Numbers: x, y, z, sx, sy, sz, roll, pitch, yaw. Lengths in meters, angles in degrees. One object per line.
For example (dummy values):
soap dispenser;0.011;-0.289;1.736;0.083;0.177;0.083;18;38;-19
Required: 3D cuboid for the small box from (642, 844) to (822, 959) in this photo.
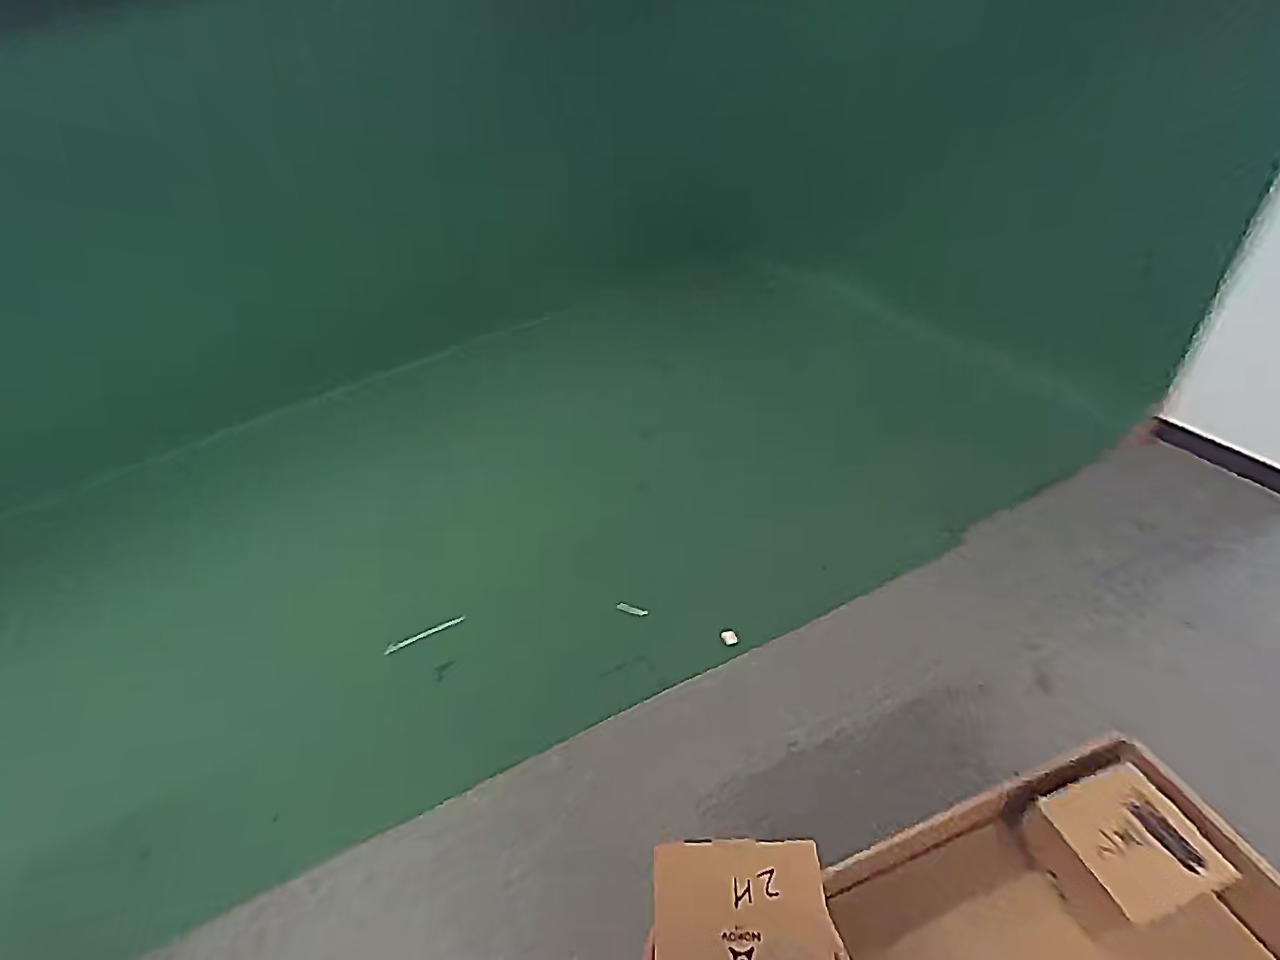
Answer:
small box;0.091;0.486;0.549;0.168;0.176;0.179;-3;48;4
